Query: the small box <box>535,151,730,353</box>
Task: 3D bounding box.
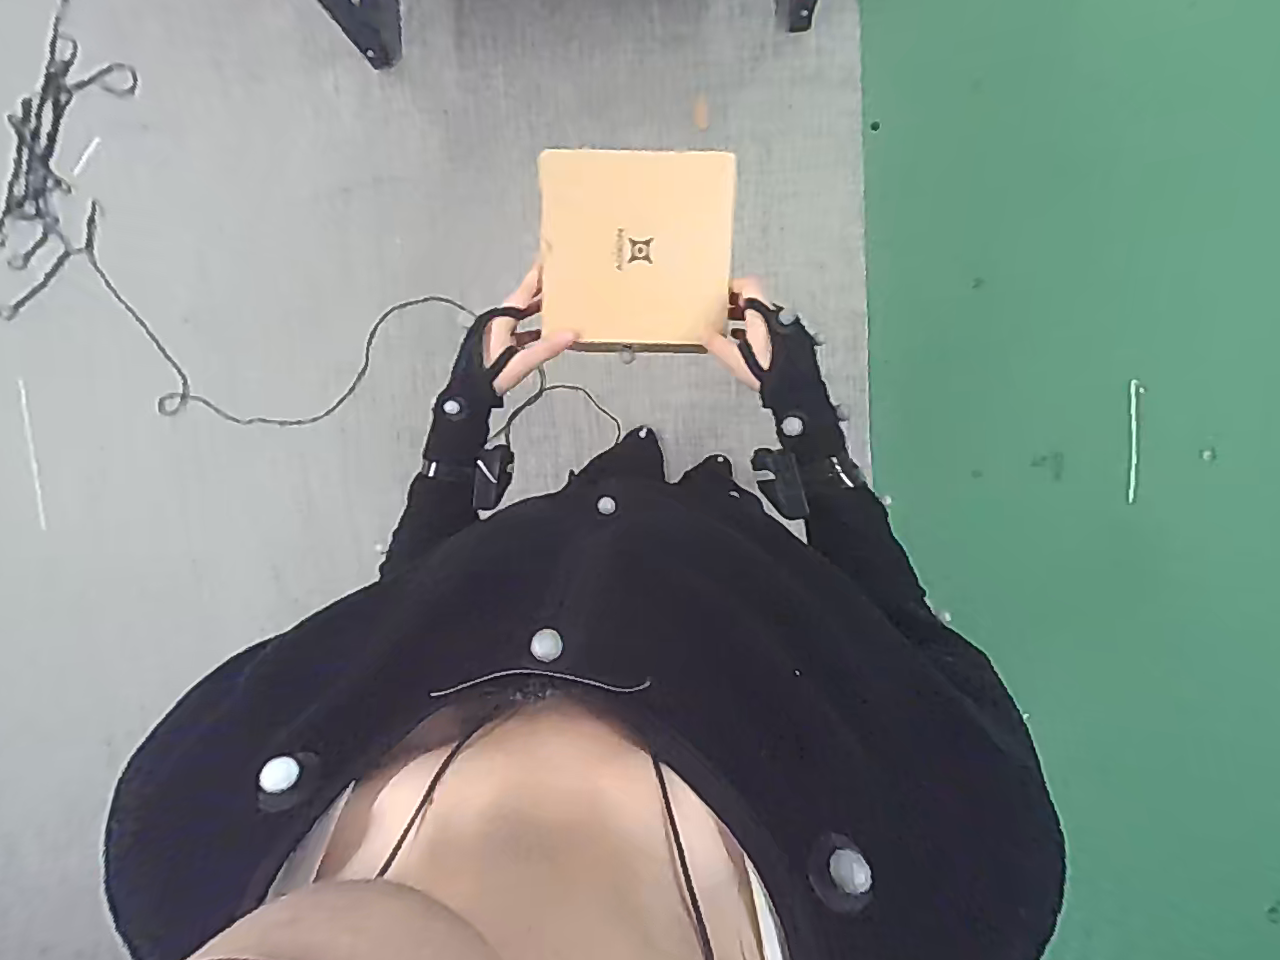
[{"bbox_3d":[-0.006,-0.225,0.572,0.179,0.176,0.168,1,100,2],"label":"small box"}]
